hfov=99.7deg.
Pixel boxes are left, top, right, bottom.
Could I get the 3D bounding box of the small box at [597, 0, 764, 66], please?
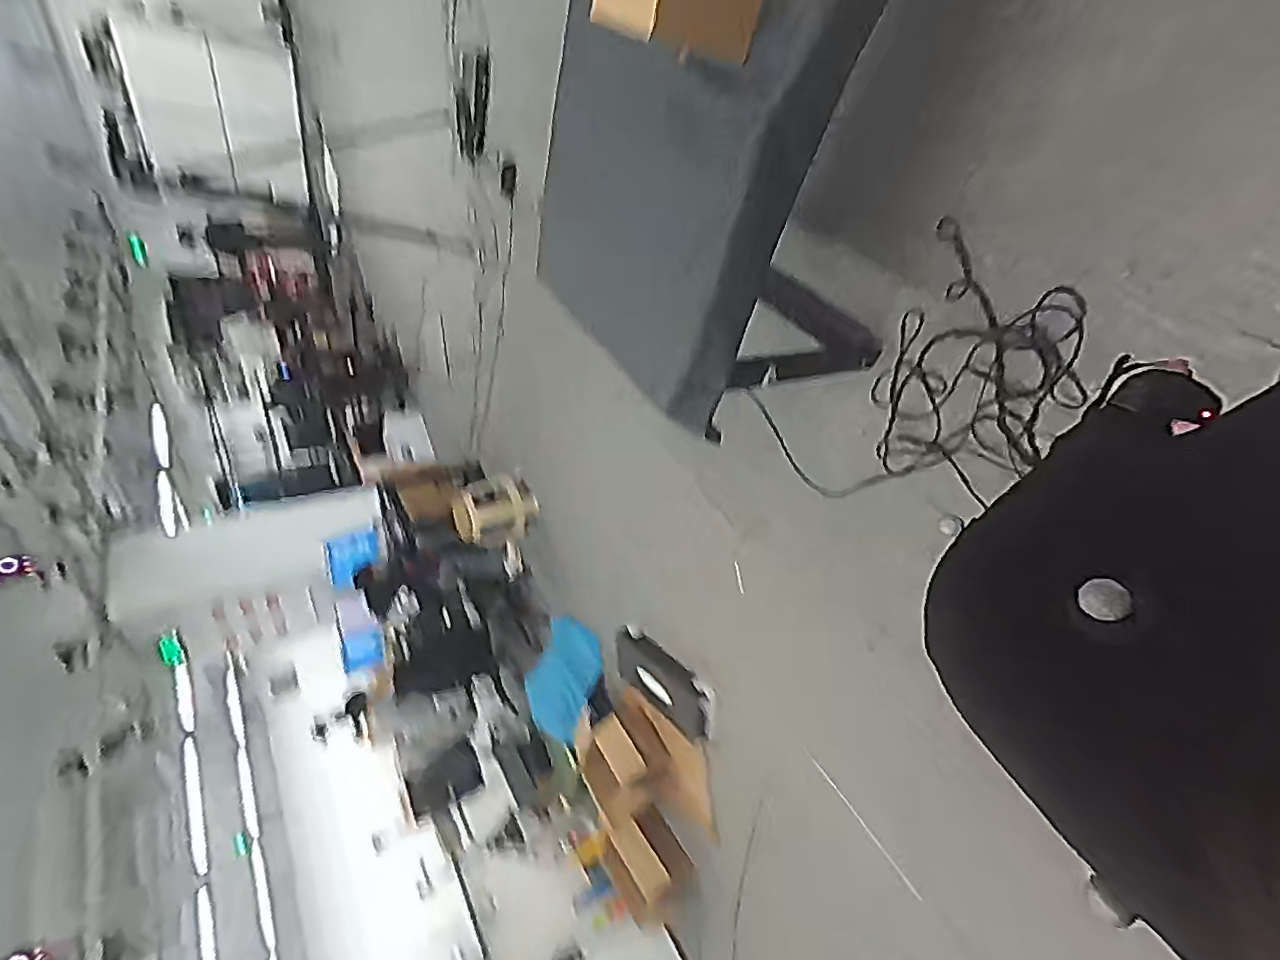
[{"bbox_3d":[0.066,-0.696,0.727,0.168,0.176,0.179,52,141,34],"label":"small box"}]
